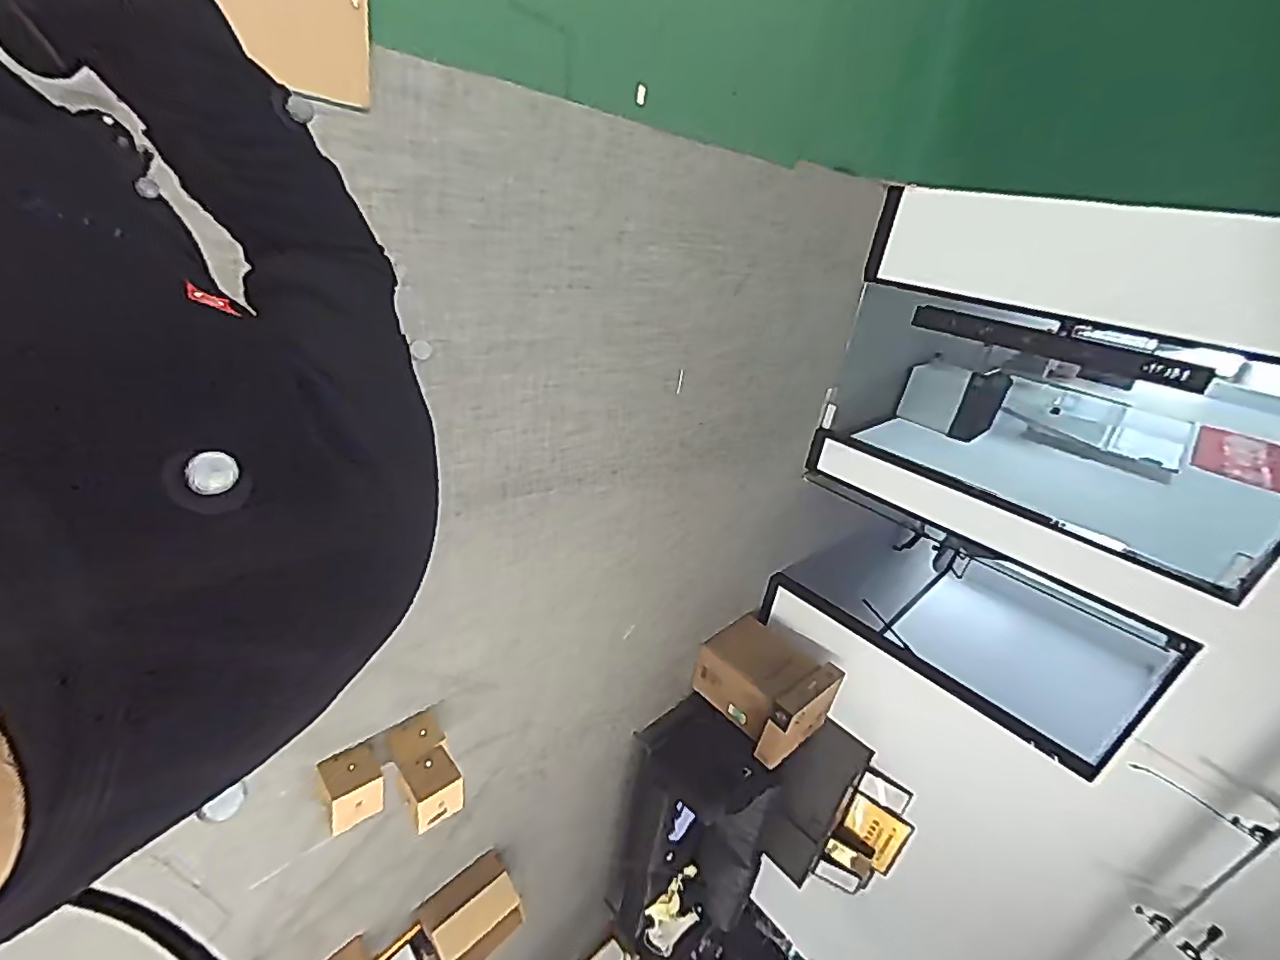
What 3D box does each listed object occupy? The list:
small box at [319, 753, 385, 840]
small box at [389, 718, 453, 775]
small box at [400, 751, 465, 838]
[{"bbox_3d":[-1.013,1.096,1.897,0.168,0.176,0.179,-11,122,-45],"label":"small box"},{"bbox_3d":[-0.839,1.047,2.066,0.168,0.176,0.179,-23,130,-39],"label":"small box"},{"bbox_3d":[-0.750,1.127,1.949,0.168,0.176,0.179,-16,125,-43],"label":"small box"}]
